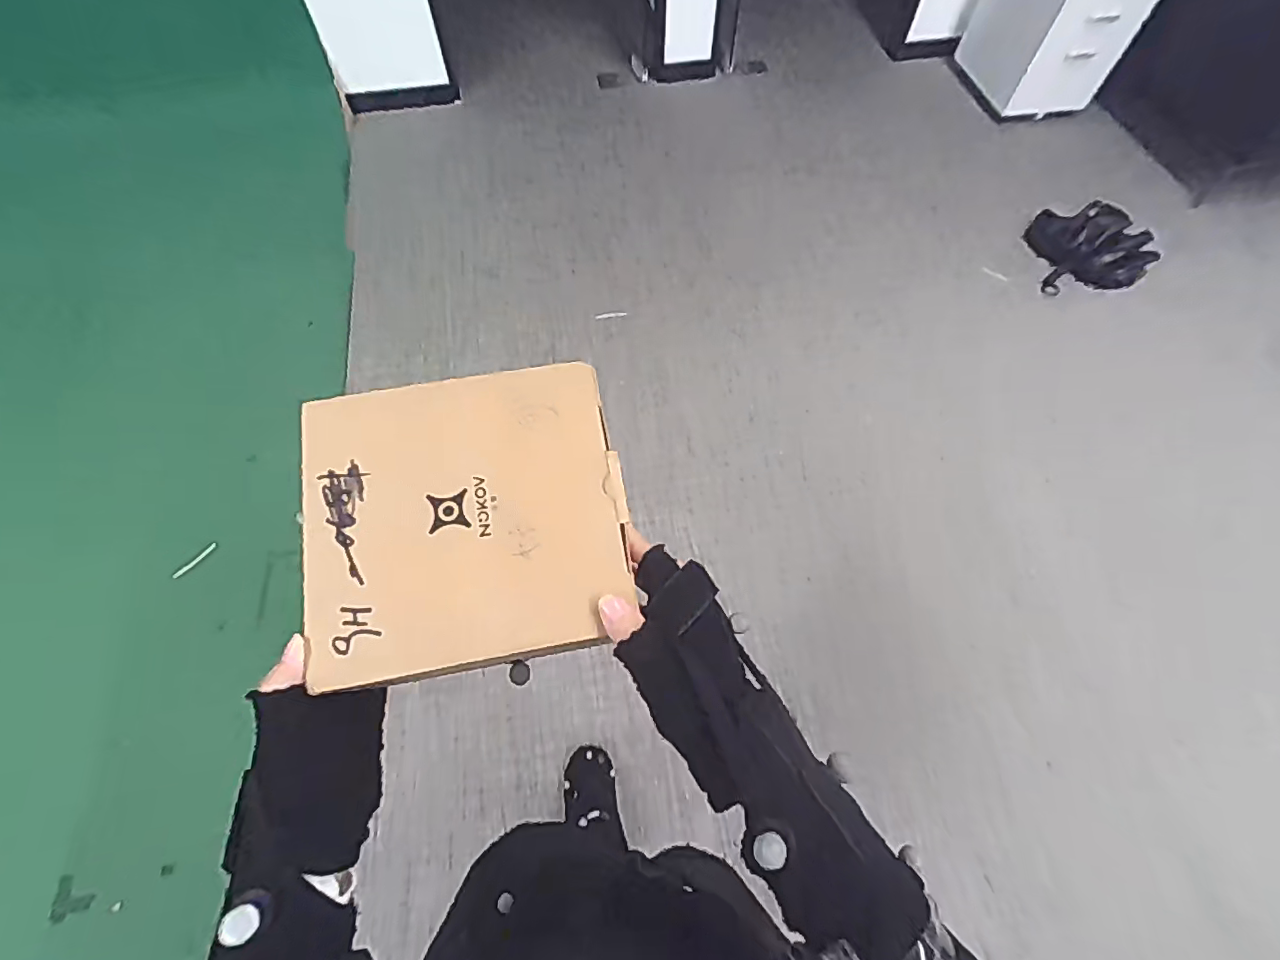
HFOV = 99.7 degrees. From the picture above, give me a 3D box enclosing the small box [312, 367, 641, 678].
[{"bbox_3d":[-0.104,0.039,0.389,0.179,0.176,0.168,-9,72,-7],"label":"small box"}]
